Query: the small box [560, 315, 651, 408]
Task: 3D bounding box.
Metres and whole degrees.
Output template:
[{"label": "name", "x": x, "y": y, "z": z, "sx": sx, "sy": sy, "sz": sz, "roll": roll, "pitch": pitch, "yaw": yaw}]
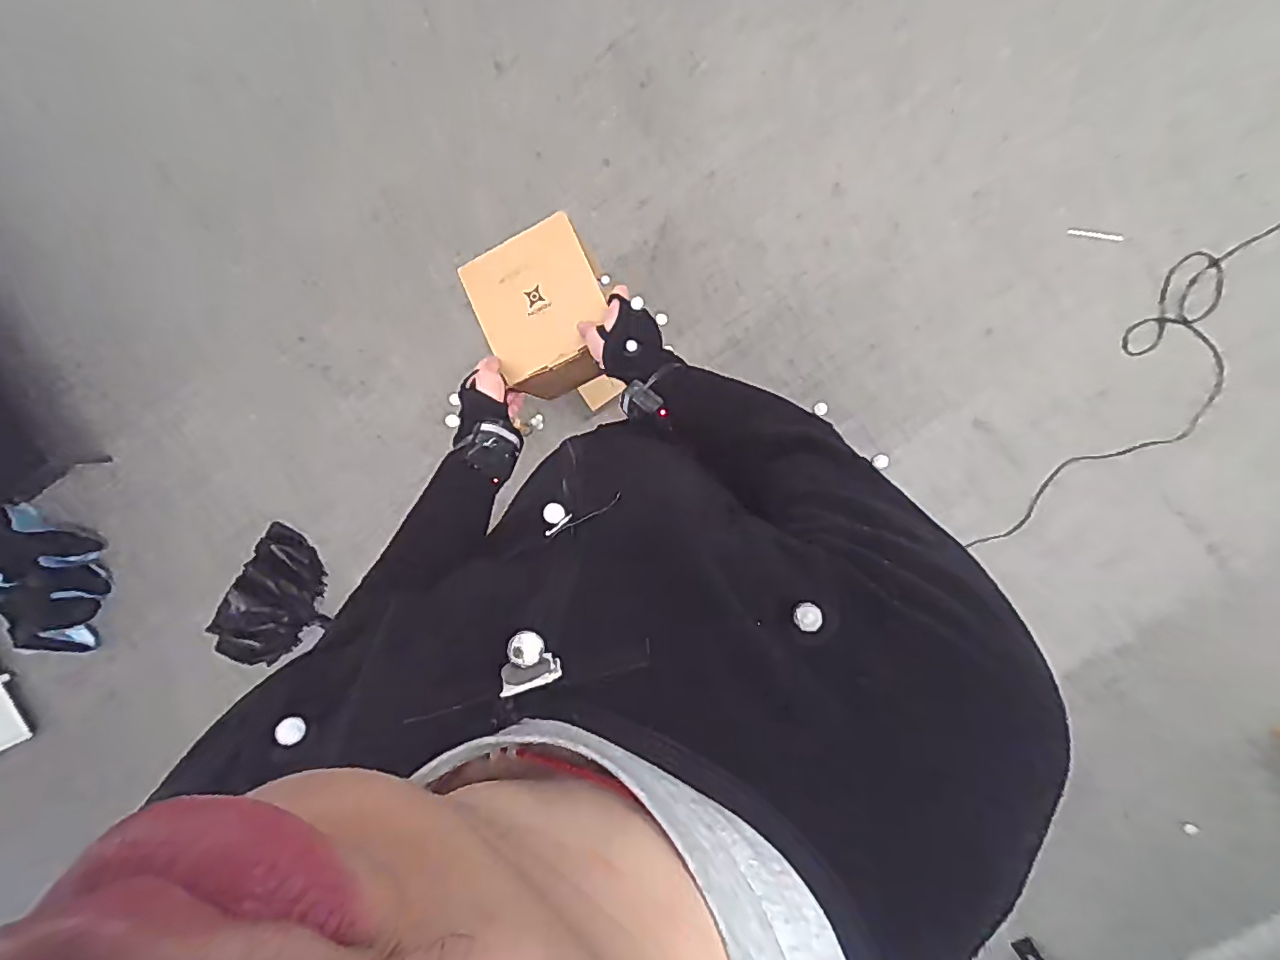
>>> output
[{"label": "small box", "x": -0.084, "y": -0.302, "z": 1.426, "sx": 0.168, "sy": 0.176, "sz": 0.179, "roll": -34, "pitch": 93, "yaw": 7}]
